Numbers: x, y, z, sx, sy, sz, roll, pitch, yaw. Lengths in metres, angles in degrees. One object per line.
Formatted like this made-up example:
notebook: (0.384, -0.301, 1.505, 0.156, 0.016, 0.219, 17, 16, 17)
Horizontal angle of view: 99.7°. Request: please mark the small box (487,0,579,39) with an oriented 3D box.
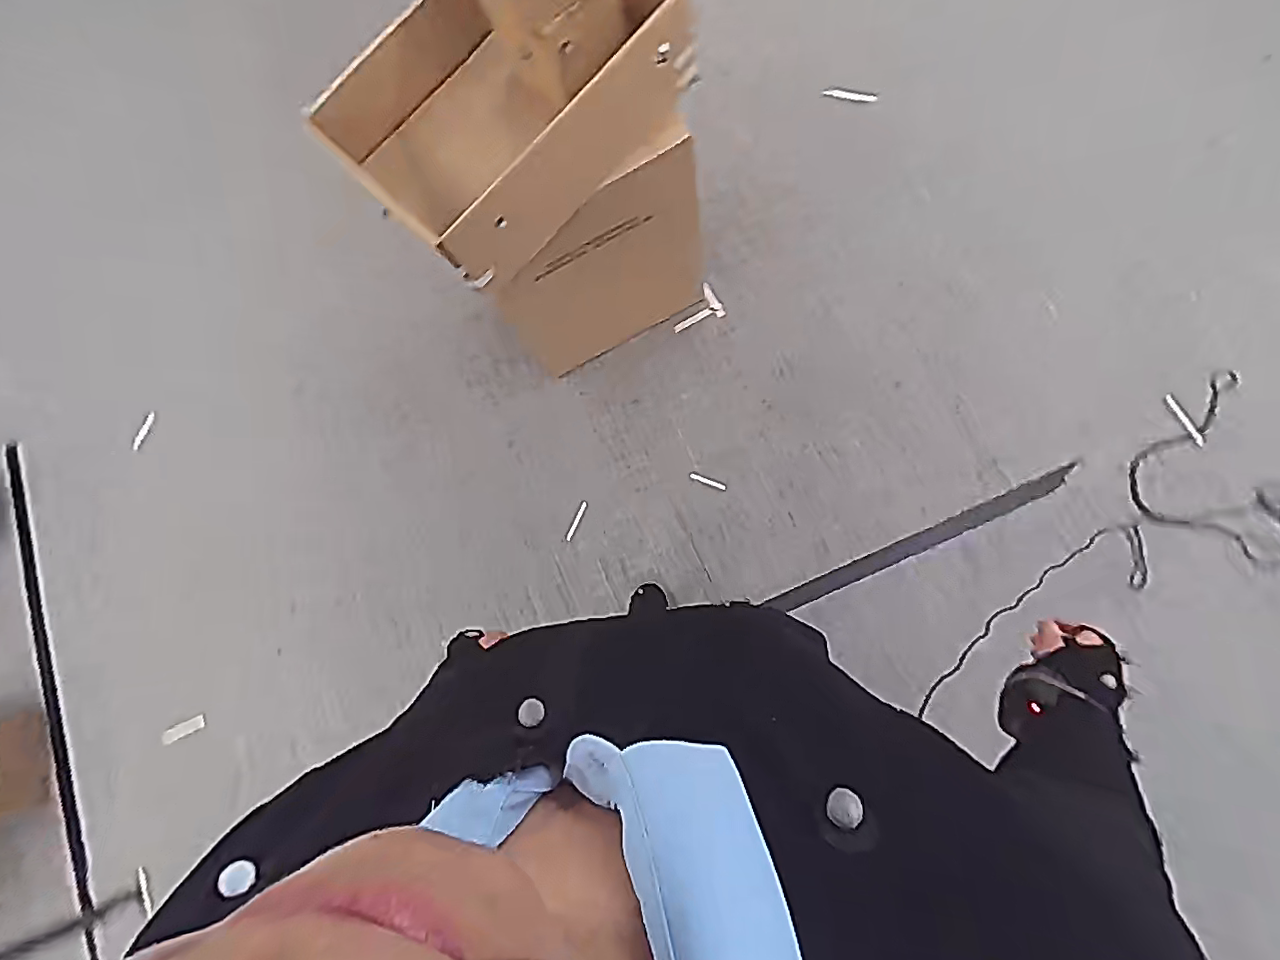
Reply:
small box: (-0.180, -0.843, 0.823, 0.179, 0.176, 0.168, -35, 77, 2)
